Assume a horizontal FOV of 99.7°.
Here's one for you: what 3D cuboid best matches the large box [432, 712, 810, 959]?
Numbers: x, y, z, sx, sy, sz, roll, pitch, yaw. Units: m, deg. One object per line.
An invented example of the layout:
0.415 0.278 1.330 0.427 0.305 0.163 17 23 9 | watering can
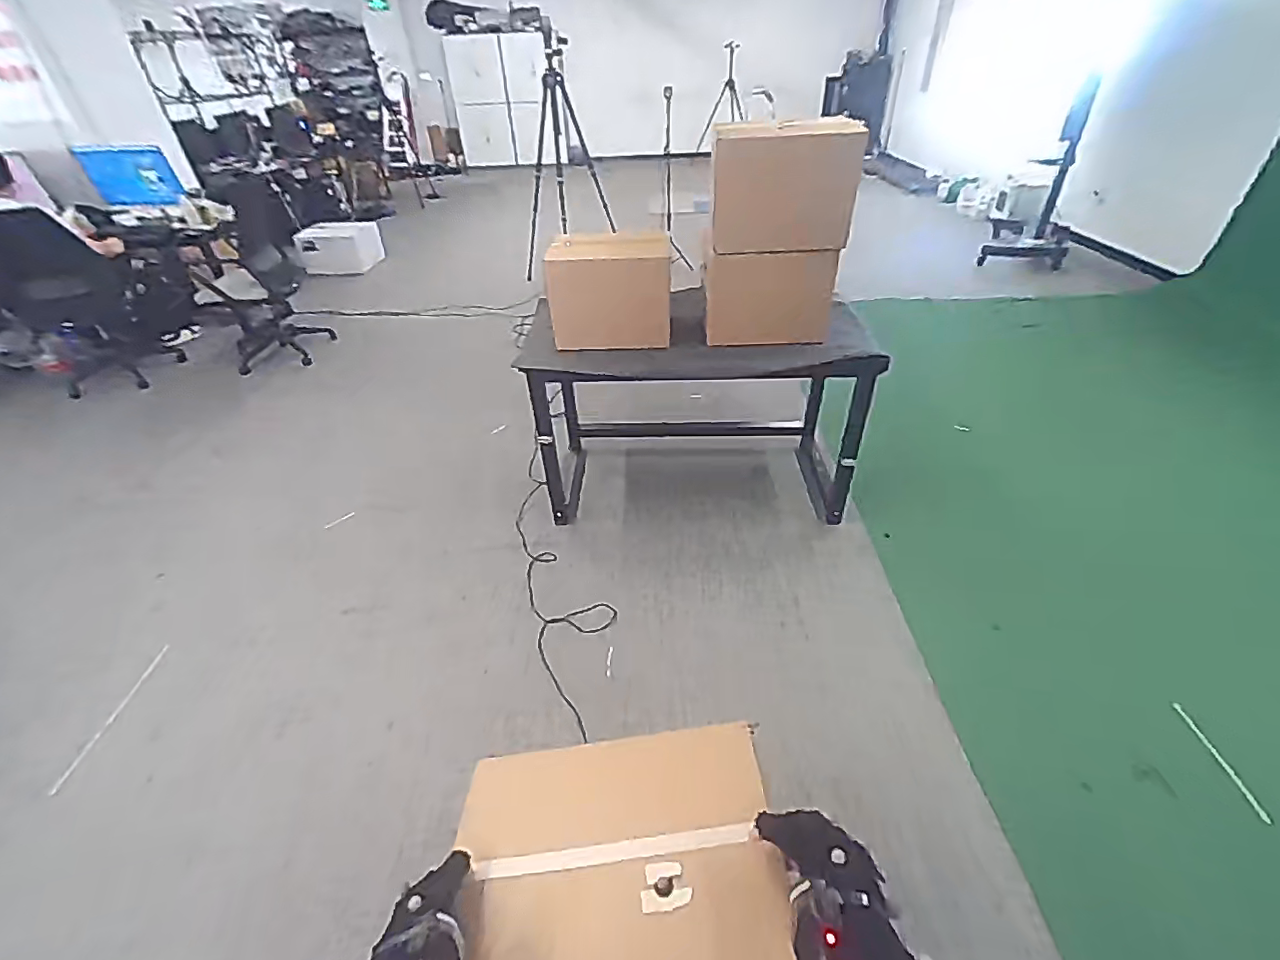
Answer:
-0.011 0.574 0.731 0.408 0.320 0.320 -10 28 2 | large box
